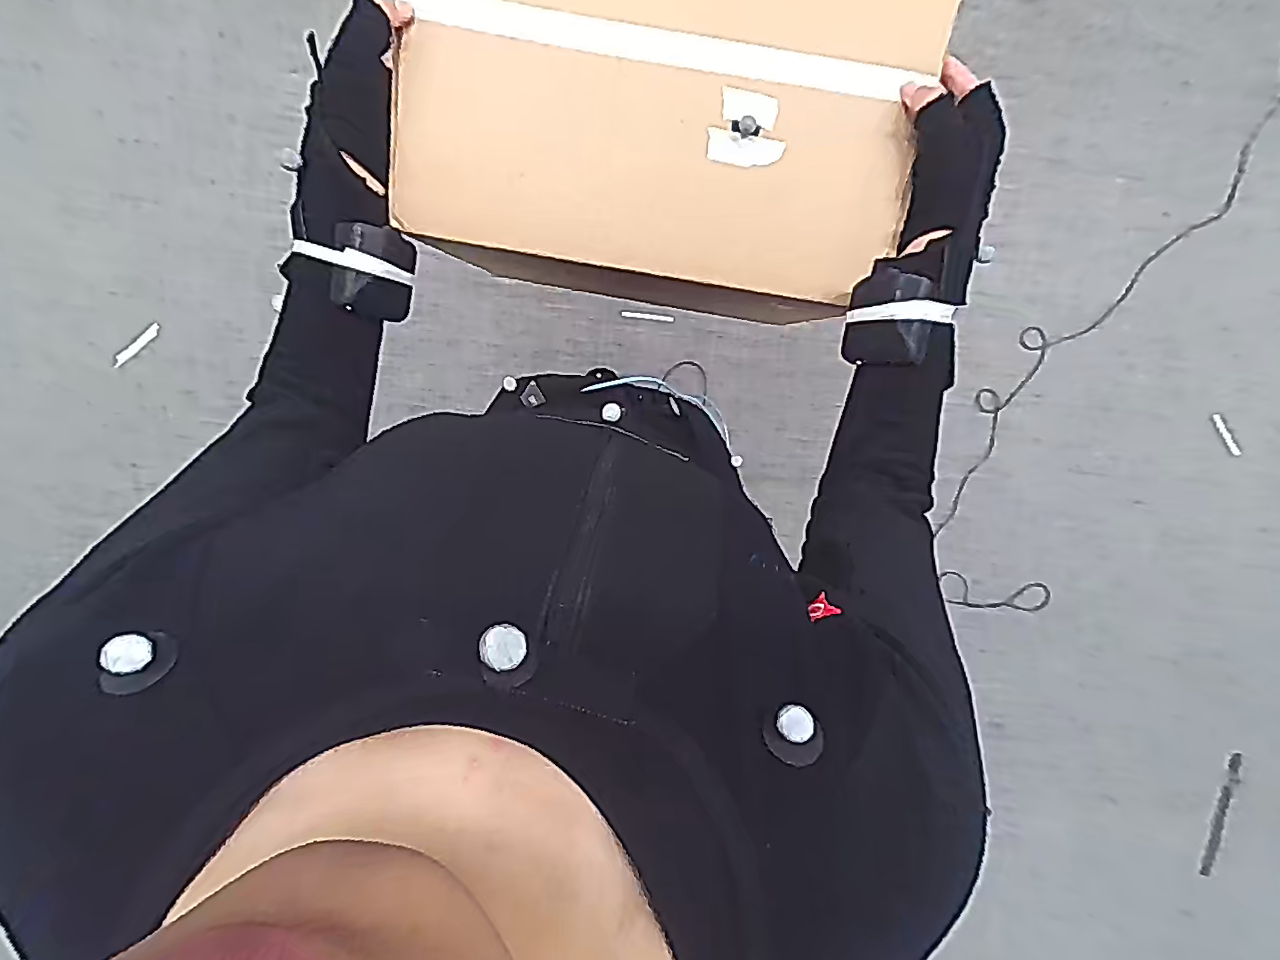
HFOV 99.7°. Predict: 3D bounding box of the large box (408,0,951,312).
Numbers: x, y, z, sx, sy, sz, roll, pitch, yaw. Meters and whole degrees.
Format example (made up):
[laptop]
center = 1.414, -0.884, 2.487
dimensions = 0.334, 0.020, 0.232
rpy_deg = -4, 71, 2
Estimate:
[large box]
center = 0.024, -0.364, 0.554
dimensions = 0.408, 0.320, 0.320
rpy_deg = 8, 105, -3
